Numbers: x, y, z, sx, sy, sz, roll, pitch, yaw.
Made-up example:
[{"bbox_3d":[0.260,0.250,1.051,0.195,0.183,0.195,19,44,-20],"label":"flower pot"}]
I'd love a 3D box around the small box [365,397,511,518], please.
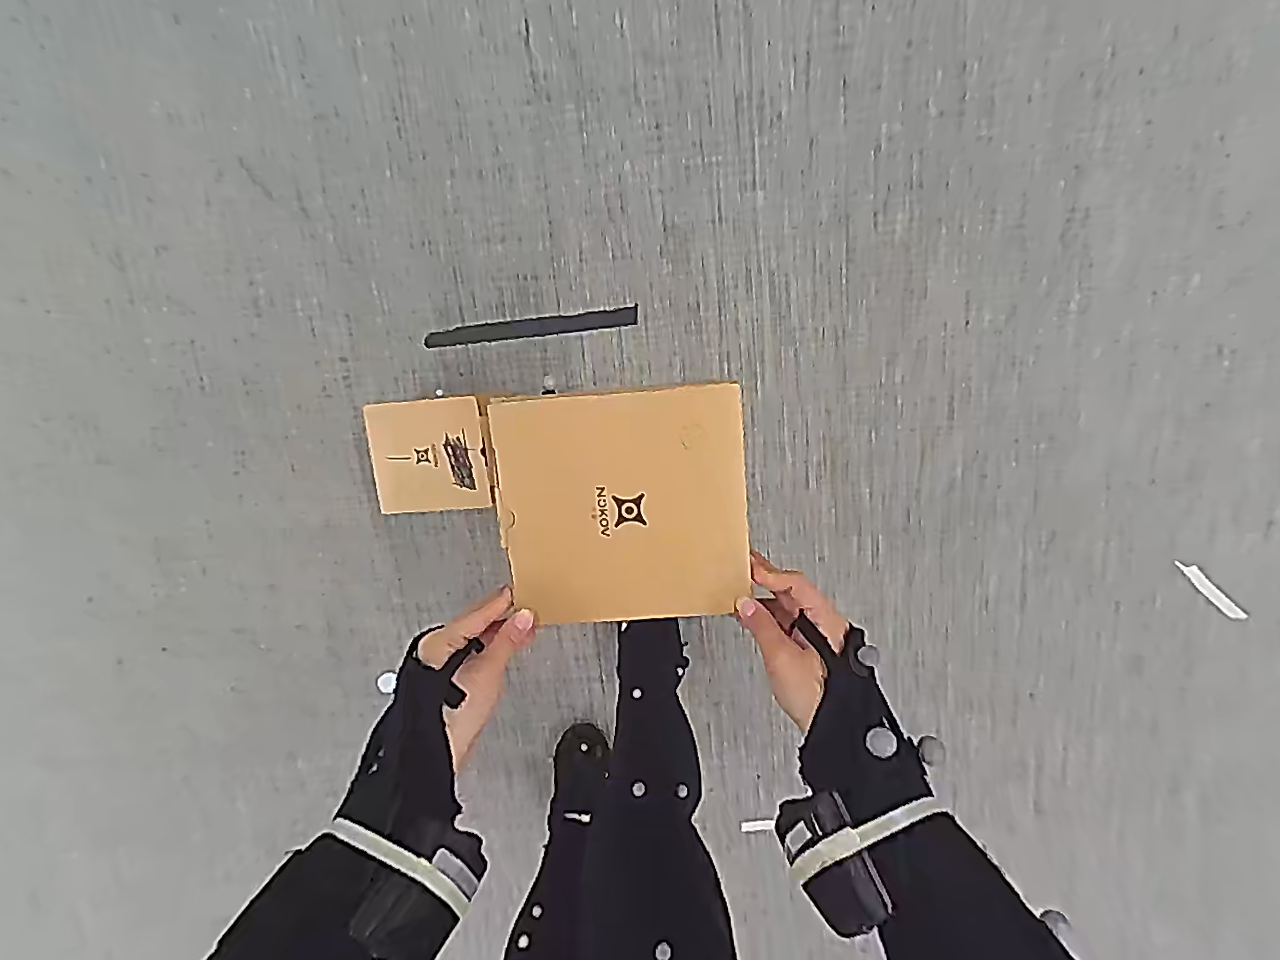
[{"bbox_3d":[-0.304,-0.043,0.874,0.179,0.176,0.168,-4,101,4],"label":"small box"}]

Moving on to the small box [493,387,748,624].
[{"bbox_3d":[-0.010,0.009,0.470,0.179,0.176,0.168,-5,100,4],"label":"small box"}]
